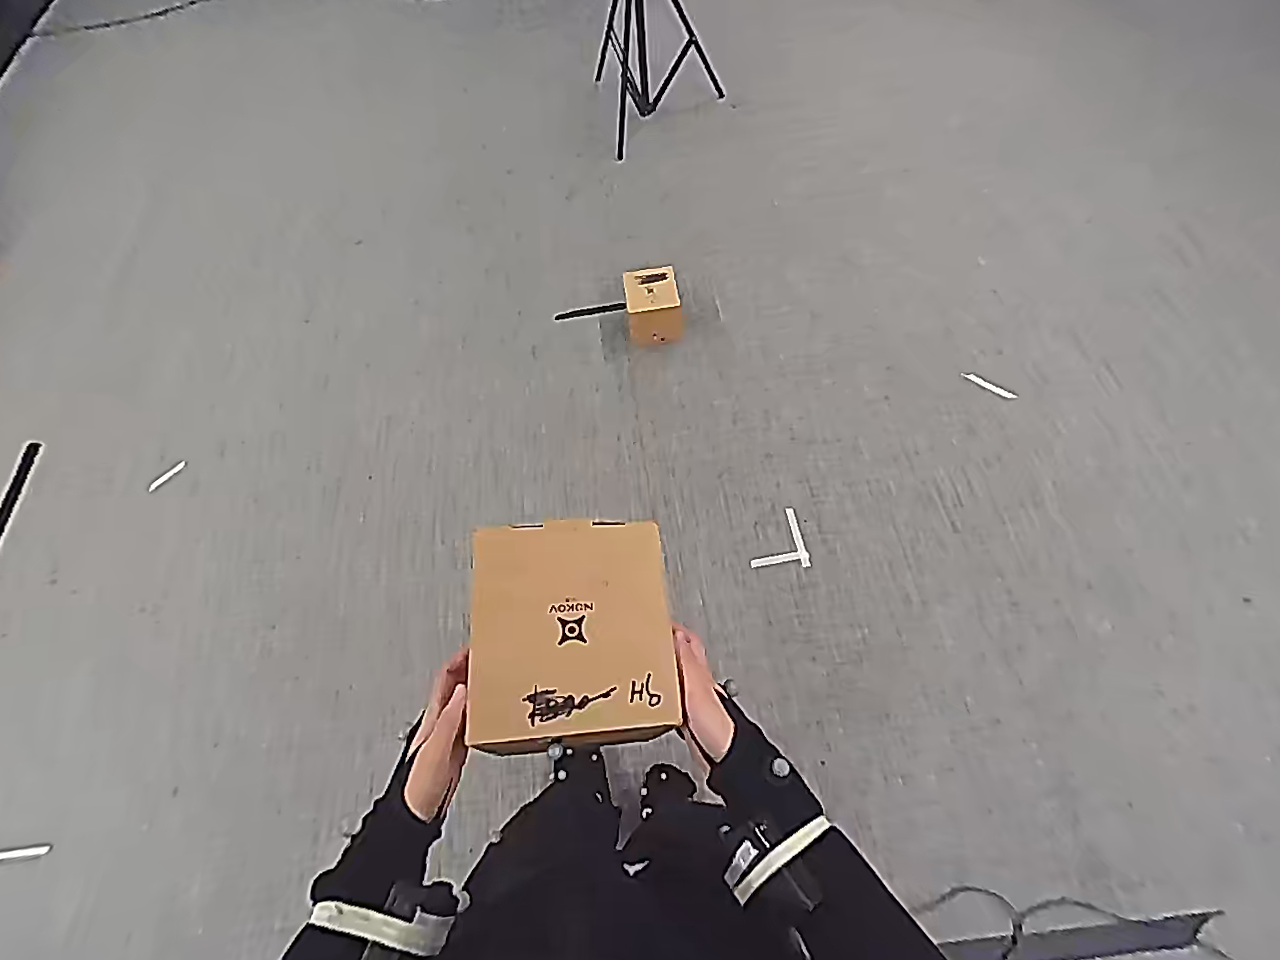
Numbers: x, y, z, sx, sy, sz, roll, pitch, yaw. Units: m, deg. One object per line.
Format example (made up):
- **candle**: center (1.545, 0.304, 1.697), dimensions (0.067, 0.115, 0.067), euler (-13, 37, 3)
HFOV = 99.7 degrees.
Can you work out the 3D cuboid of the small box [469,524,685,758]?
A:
- **small box**: center (-0.063, 0.156, 0.515), dimensions (0.168, 0.176, 0.179), euler (-2, 61, -9)
